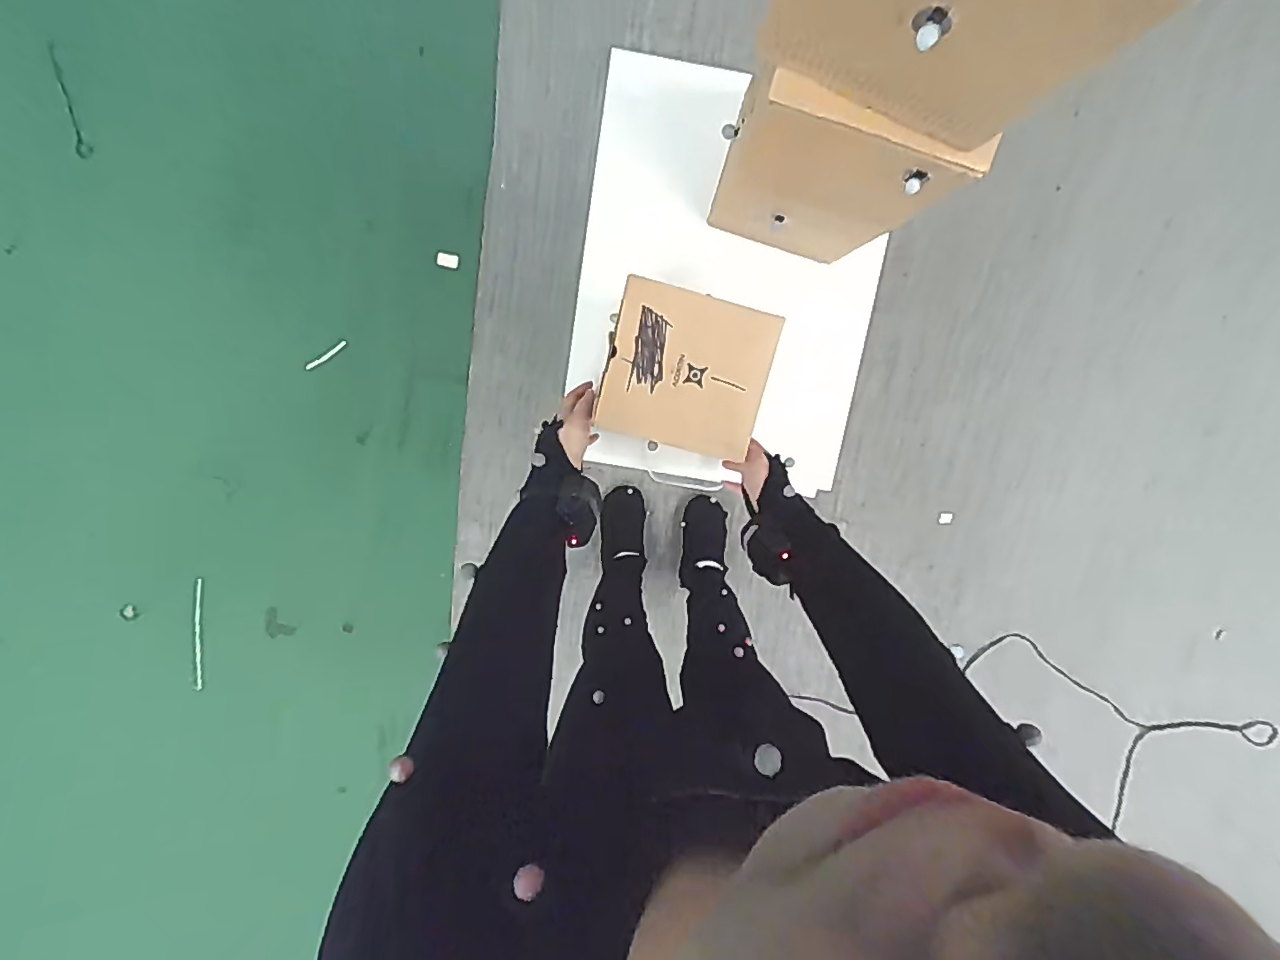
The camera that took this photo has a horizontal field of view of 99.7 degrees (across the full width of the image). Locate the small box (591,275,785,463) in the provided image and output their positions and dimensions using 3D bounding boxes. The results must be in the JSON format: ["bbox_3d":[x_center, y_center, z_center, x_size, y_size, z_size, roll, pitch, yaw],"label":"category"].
[{"bbox_3d":[0.047,-0.127,0.658,0.179,0.176,0.168,15,98,-5],"label":"small box"}]

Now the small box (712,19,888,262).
[{"bbox_3d":[0.193,-0.369,0.622,0.179,0.176,0.168,16,99,-3],"label":"small box"}]

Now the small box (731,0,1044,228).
[{"bbox_3d":[0.191,-0.339,0.462,0.179,0.176,0.168,15,99,-4],"label":"small box"}]
